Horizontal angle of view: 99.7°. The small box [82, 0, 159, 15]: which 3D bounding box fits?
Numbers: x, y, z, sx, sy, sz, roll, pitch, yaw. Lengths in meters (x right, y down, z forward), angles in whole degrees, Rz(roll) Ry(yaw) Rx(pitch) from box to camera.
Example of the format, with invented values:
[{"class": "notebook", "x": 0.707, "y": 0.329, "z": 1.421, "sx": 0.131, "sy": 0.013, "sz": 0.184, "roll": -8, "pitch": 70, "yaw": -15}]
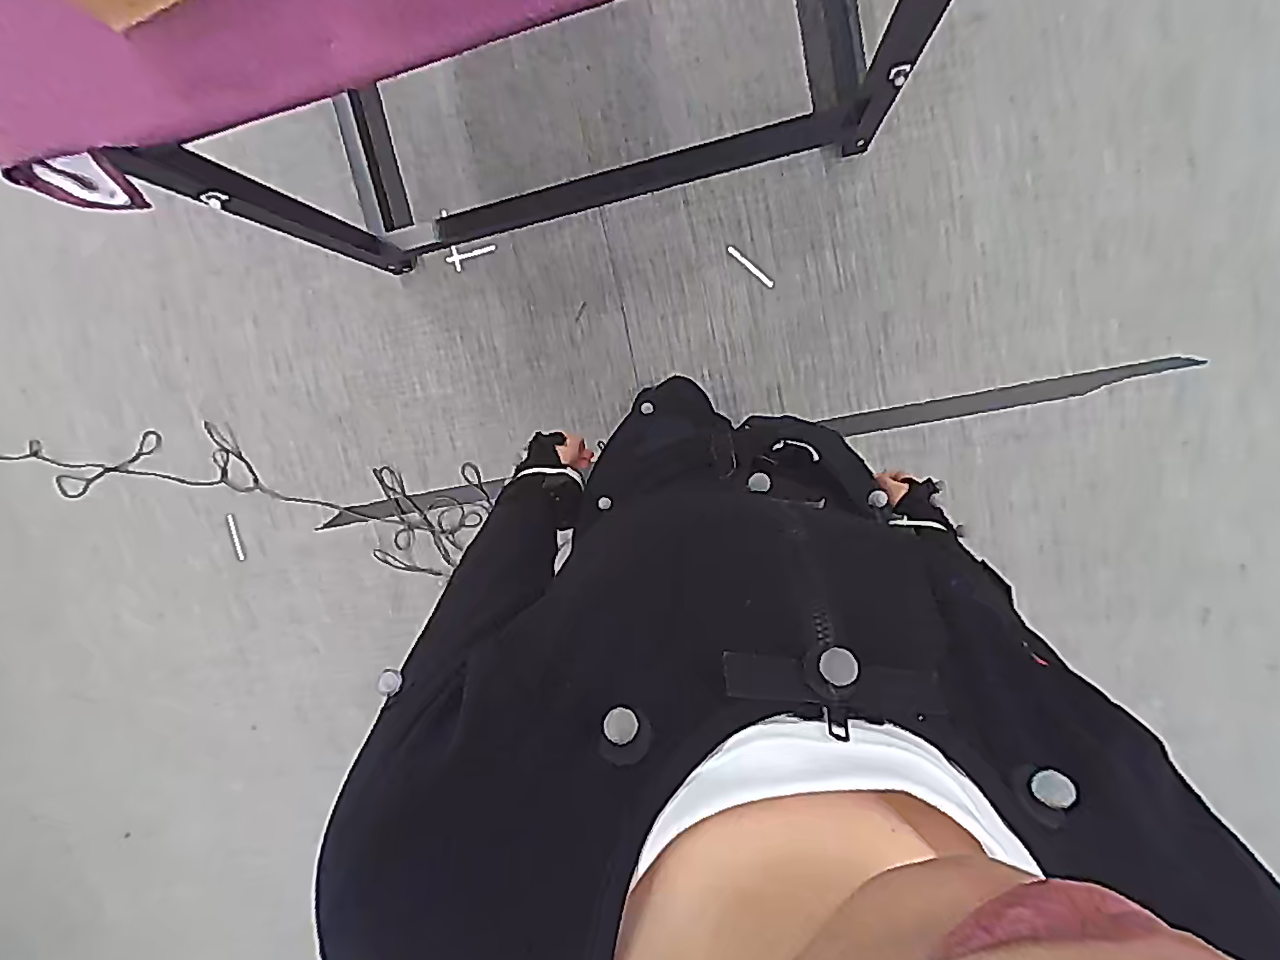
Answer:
[{"class": "small box", "x": -0.595, "y": -0.639, "z": 0.558, "sx": 0.168, "sy": 0.176, "sz": 0.179, "roll": -17, "pitch": 95, "yaw": 10}]
